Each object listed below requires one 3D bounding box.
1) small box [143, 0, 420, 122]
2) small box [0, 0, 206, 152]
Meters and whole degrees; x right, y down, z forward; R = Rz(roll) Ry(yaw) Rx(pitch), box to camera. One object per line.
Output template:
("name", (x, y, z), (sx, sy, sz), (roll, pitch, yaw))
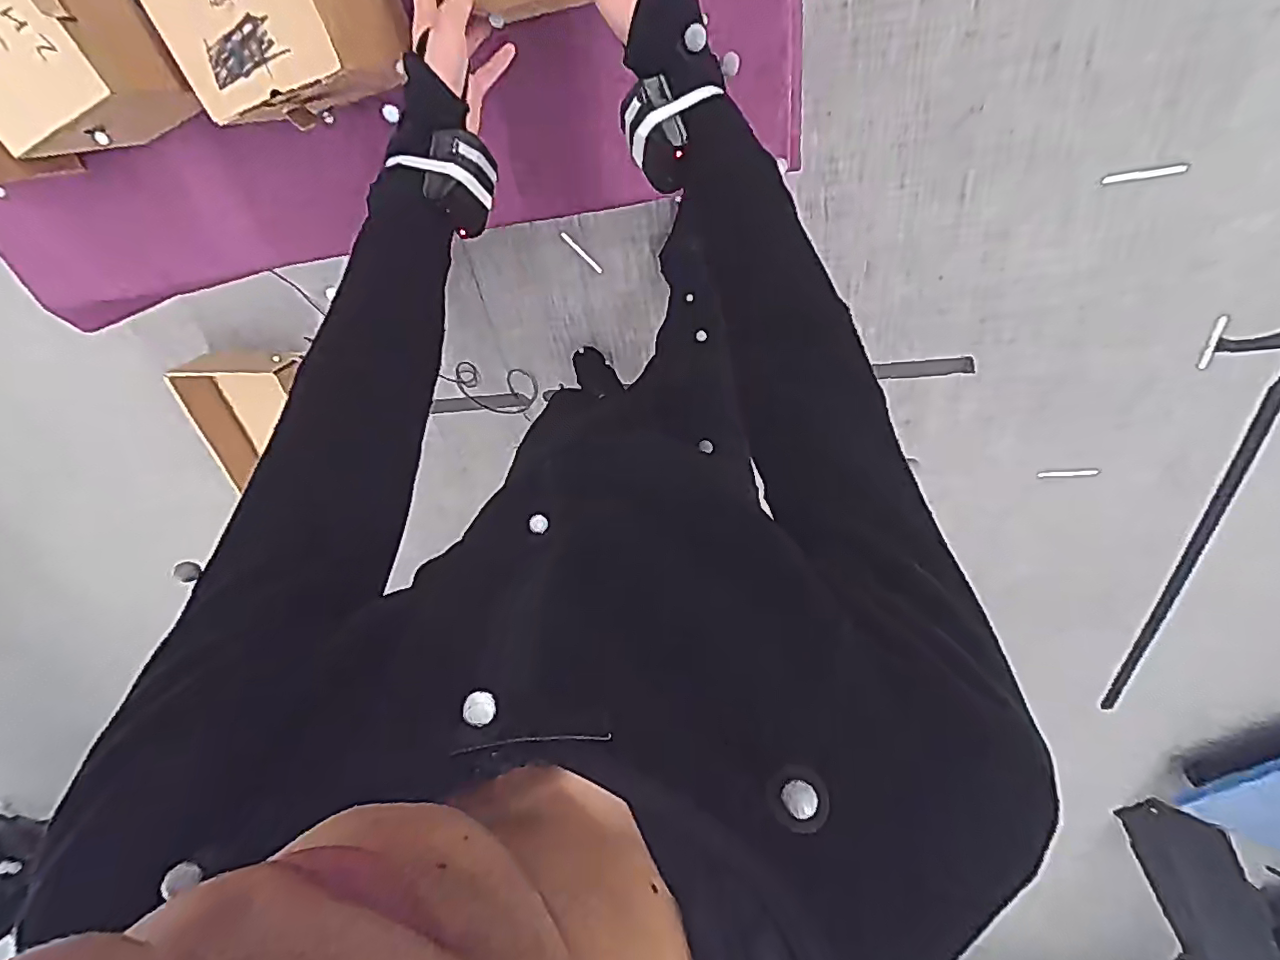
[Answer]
("small box", (-0.355, -0.483, 0.534), (0.168, 0.176, 0.179), (-8, 124, 16))
("small box", (-0.615, -0.480, 0.583), (0.179, 0.176, 0.168), (-12, 124, 18))
